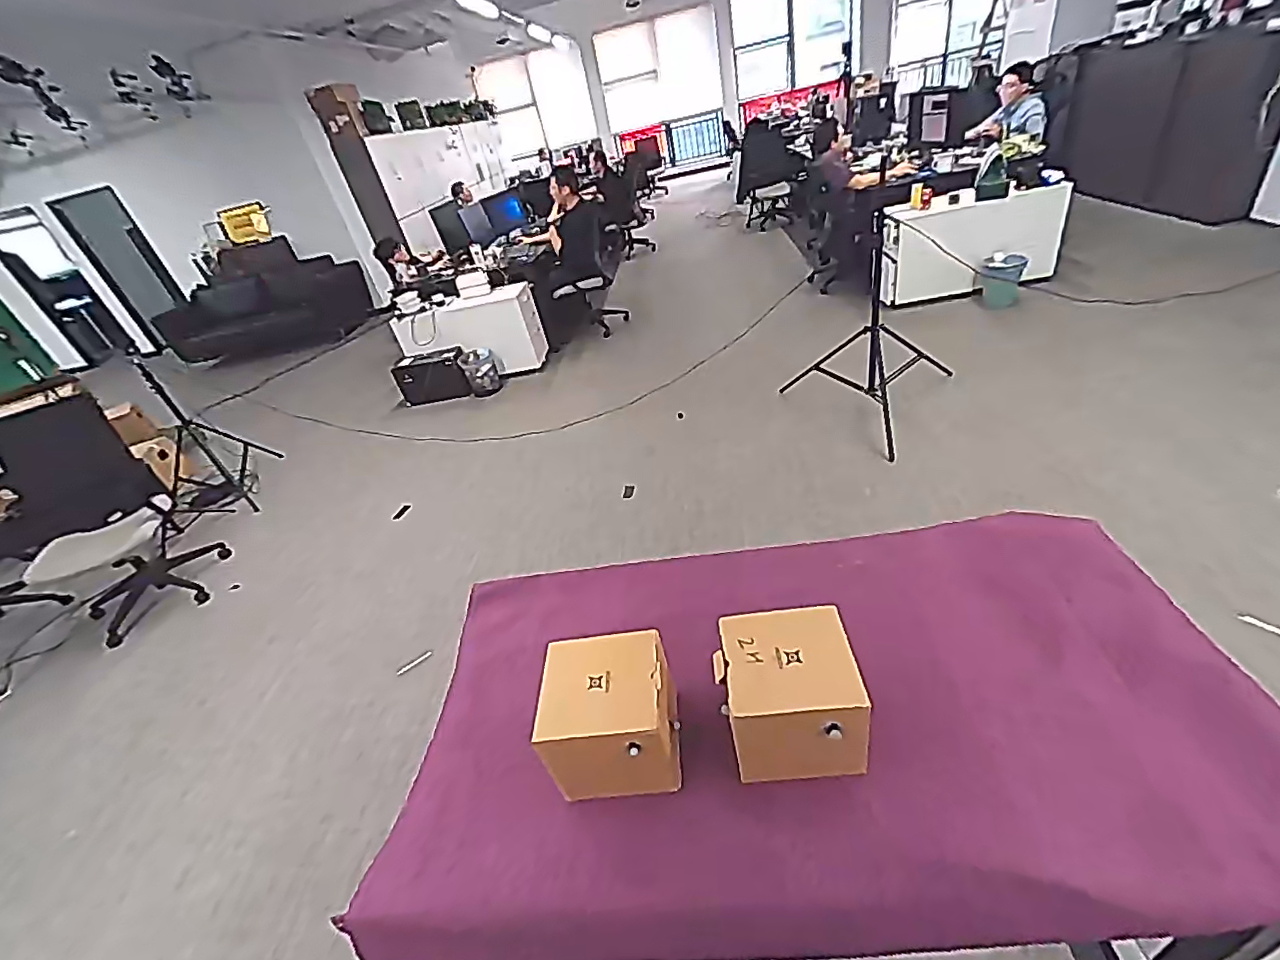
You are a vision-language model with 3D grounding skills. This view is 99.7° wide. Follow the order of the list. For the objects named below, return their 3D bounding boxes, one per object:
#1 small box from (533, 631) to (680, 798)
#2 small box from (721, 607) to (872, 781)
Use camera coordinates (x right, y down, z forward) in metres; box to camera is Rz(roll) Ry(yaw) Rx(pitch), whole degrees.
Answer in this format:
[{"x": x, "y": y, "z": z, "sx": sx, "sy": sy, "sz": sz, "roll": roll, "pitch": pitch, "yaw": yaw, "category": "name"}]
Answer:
[{"x": -0.042, "y": 0.356, "z": 0.818, "sx": 0.179, "sy": 0.176, "sz": 0.168, "roll": -9, "pitch": 34, "yaw": 6, "category": "small box"}, {"x": 0.219, "y": 0.310, "z": 0.785, "sx": 0.179, "sy": 0.176, "sz": 0.168, "roll": -9, "pitch": 33, "yaw": 8, "category": "small box"}]
